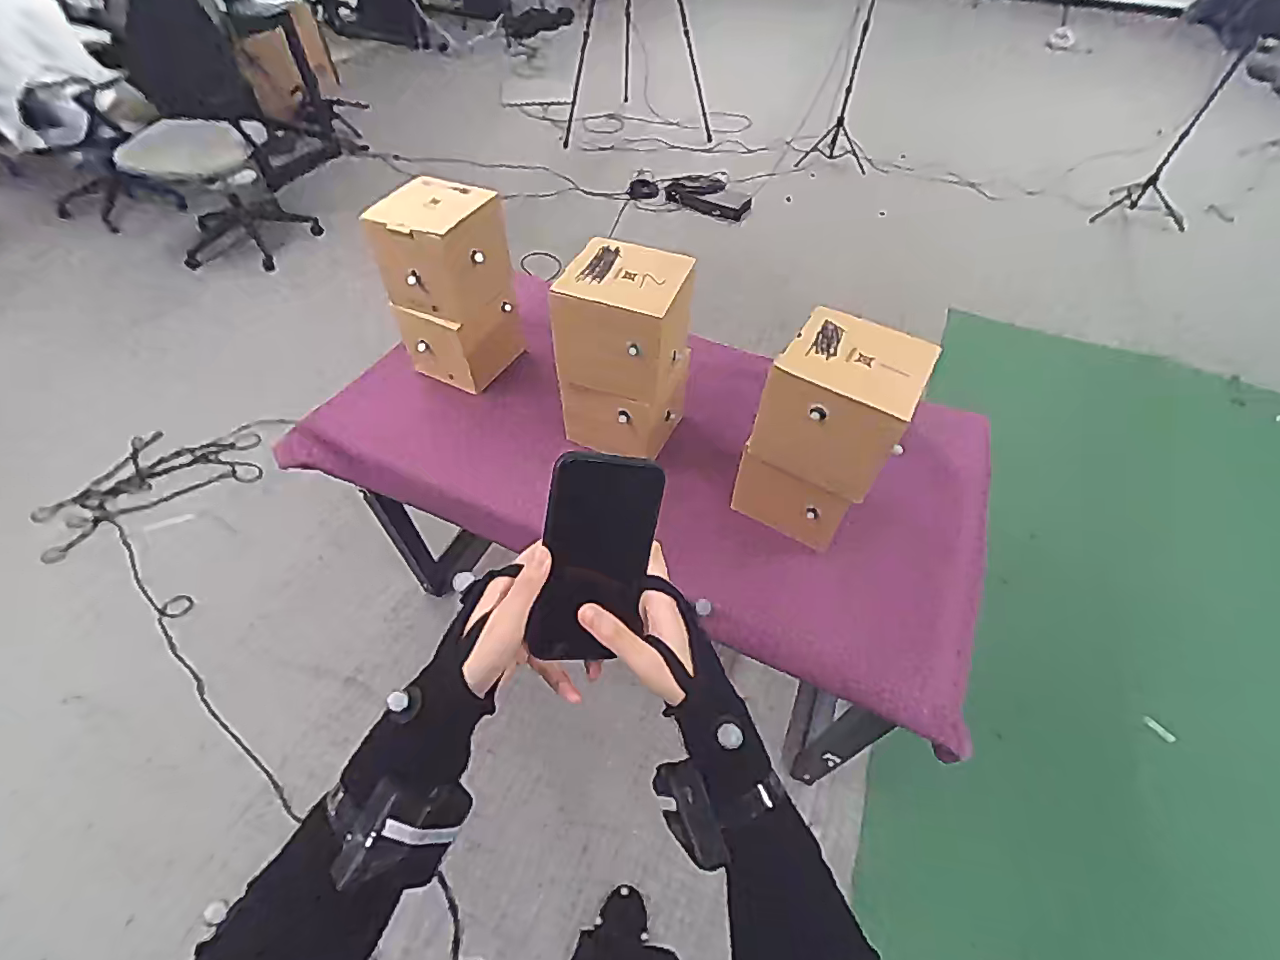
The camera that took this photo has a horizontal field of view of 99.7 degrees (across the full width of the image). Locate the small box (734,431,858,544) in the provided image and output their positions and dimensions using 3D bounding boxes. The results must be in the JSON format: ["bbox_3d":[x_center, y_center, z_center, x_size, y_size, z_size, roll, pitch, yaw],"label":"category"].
[{"bbox_3d":[0.276,-0.018,0.895,0.179,0.176,0.168,27,56,20],"label":"small box"}]

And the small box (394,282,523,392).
[{"bbox_3d":[-0.359,-0.310,1.112,0.168,0.176,0.179,23,55,16],"label":"small box"}]

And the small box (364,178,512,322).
[{"bbox_3d":[-0.353,-0.418,0.988,0.168,0.176,0.179,19,54,12],"label":"small box"}]

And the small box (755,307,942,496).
[{"bbox_3d":[0.280,-0.107,0.756,0.179,0.176,0.168,28,56,19],"label":"small box"}]

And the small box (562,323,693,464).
[{"bbox_3d":[-0.021,-0.153,0.994,0.179,0.176,0.168,22,54,16],"label":"small box"}]
